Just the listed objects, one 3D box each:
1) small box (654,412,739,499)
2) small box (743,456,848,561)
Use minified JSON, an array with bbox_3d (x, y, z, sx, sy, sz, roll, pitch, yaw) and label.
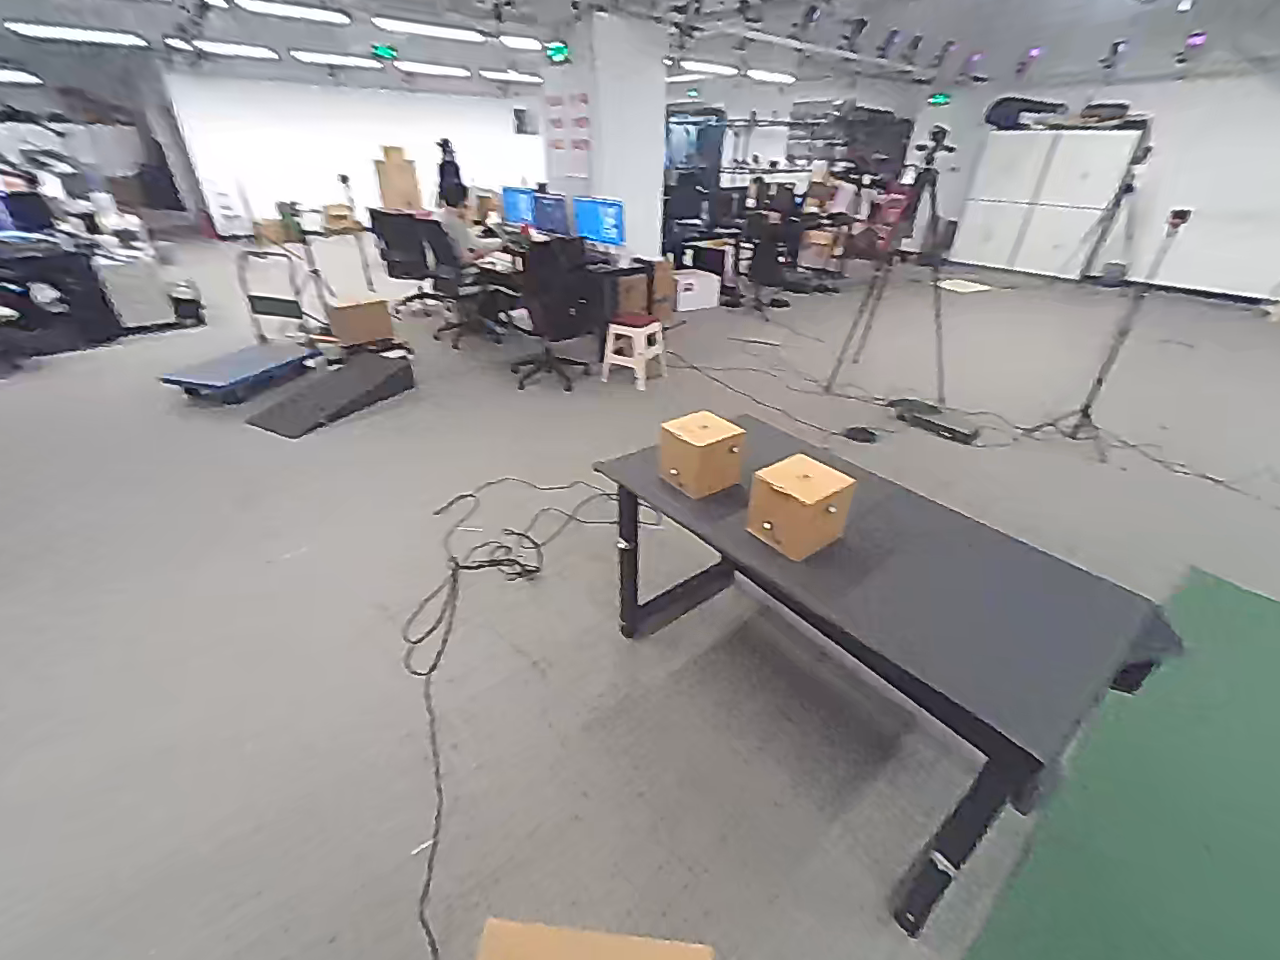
[{"bbox_3d":[0.154,-0.072,1.532,0.179,0.176,0.168,-19,37,-32],"label":"small box"},{"bbox_3d":[0.371,0.068,1.324,0.179,0.176,0.168,-20,38,-32],"label":"small box"}]
